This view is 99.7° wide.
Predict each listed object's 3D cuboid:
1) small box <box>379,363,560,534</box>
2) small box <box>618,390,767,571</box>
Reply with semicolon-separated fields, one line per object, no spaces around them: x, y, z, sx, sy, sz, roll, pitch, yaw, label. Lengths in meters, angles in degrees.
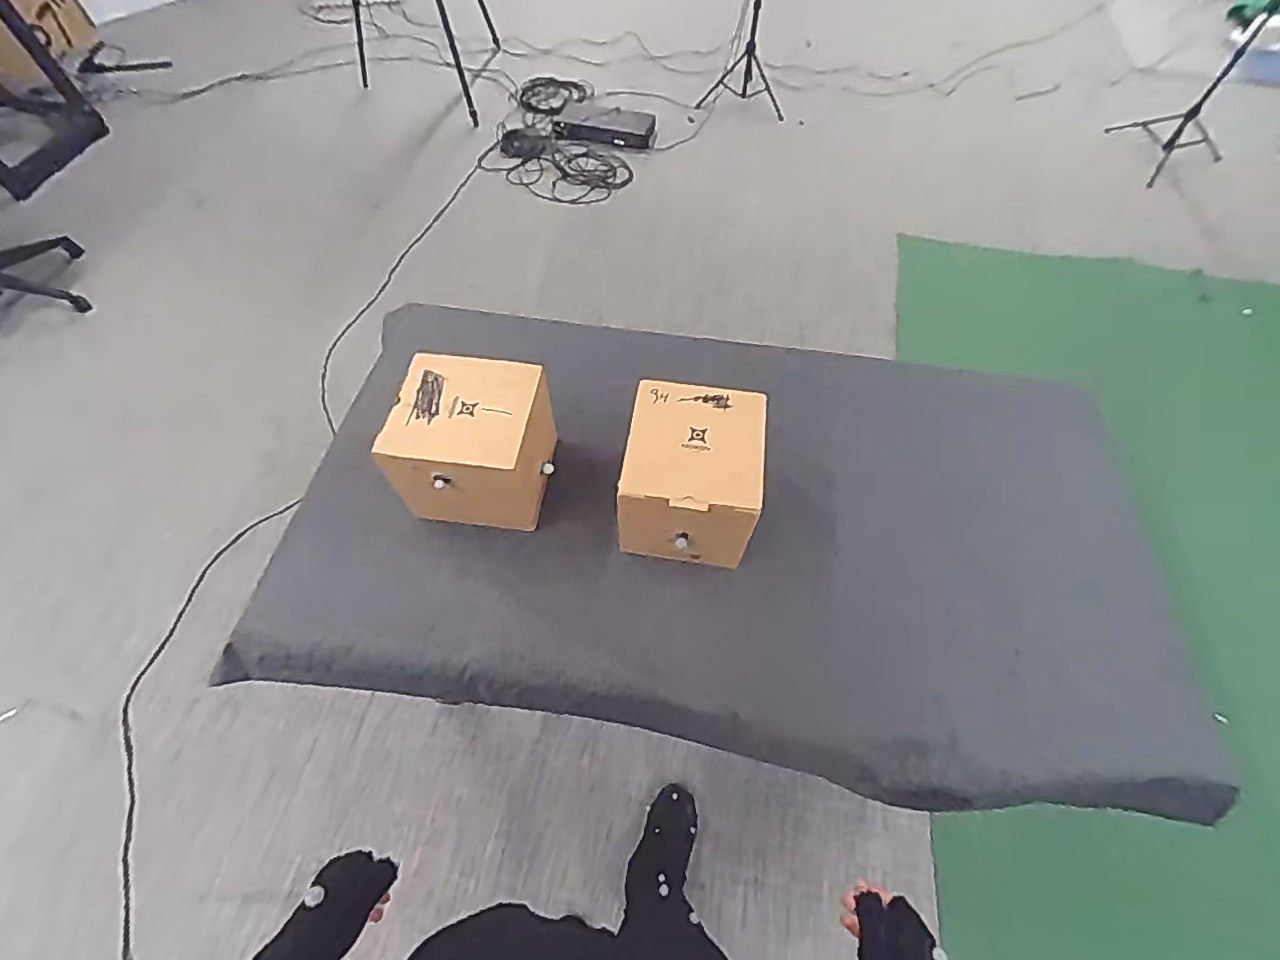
-0.219;-0.038;0.750;0.179;0.176;0.168;7;59;2;small box
0.069;0.007;0.728;0.168;0.176;0.179;8;59;4;small box
